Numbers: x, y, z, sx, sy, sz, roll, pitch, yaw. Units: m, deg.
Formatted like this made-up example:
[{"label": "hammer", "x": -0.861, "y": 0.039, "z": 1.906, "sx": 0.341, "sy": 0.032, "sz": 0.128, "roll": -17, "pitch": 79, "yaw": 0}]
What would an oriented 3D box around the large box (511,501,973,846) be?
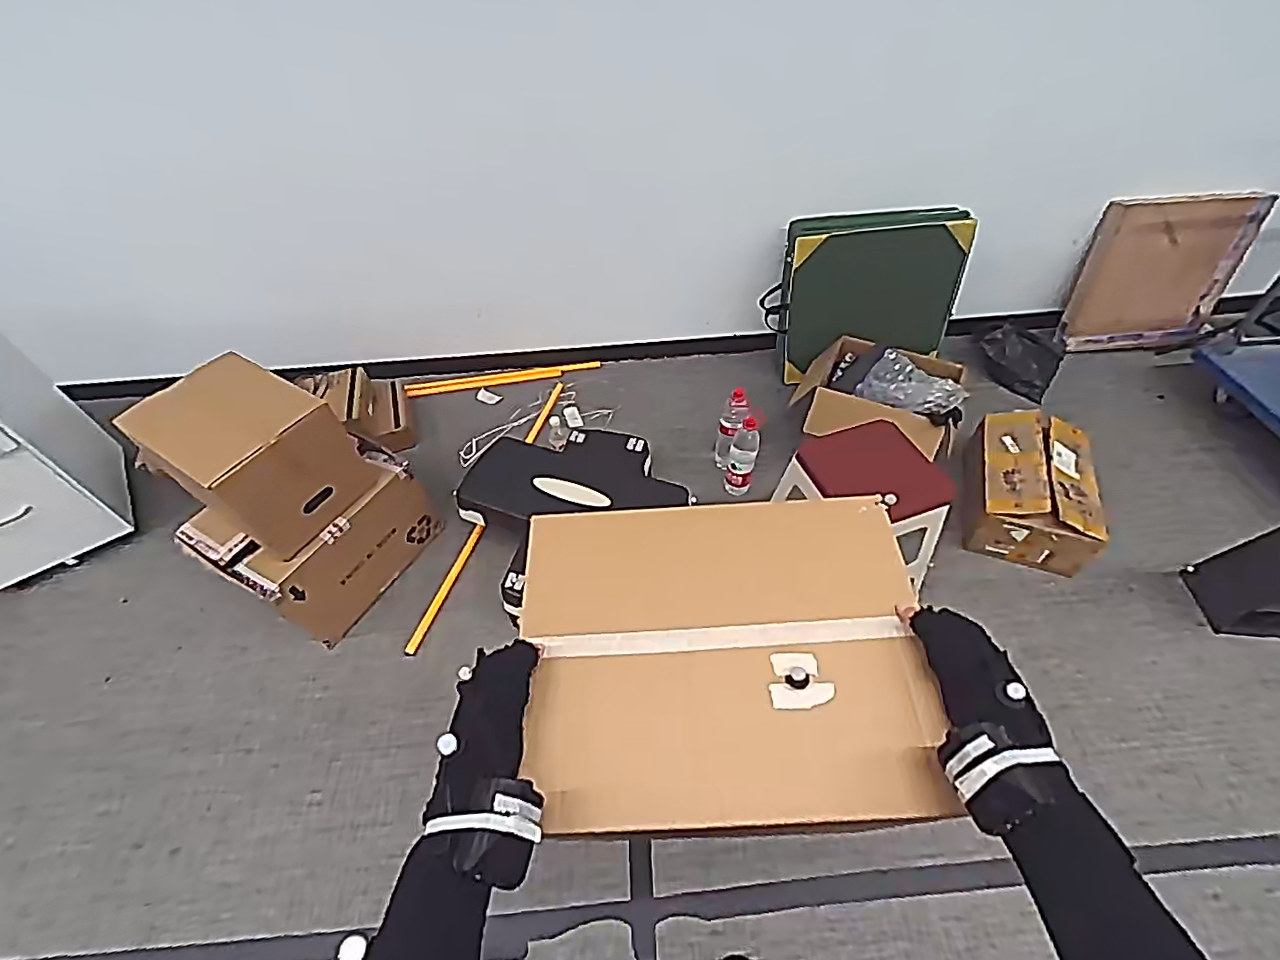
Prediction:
[{"label": "large box", "x": 0.085, "y": 0.248, "z": 0.664, "sx": 0.408, "sy": 0.320, "sz": 0.320, "roll": -3, "pitch": 55, "yaw": 1}]
